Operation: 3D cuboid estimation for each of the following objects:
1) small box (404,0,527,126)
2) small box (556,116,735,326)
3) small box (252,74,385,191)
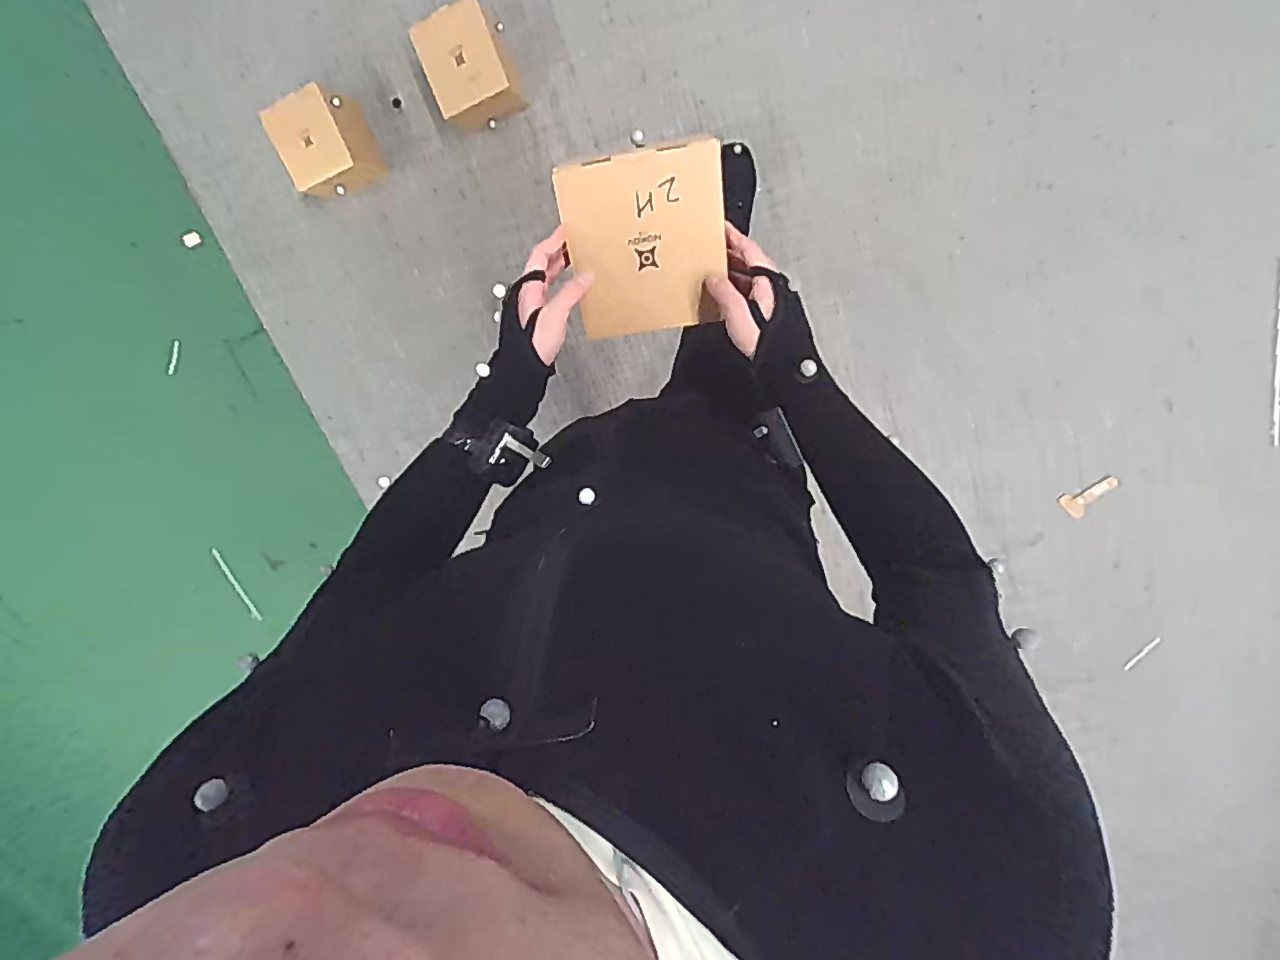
[{"bbox_3d":[-0.371,-0.917,1.184,0.168,0.176,0.179,-16,110,14],"label":"small box"},{"bbox_3d":[0.015,-0.296,0.614,0.168,0.176,0.179,-7,124,6],"label":"small box"},{"bbox_3d":[-0.744,-0.803,1.274,0.168,0.176,0.179,-17,109,13],"label":"small box"}]
